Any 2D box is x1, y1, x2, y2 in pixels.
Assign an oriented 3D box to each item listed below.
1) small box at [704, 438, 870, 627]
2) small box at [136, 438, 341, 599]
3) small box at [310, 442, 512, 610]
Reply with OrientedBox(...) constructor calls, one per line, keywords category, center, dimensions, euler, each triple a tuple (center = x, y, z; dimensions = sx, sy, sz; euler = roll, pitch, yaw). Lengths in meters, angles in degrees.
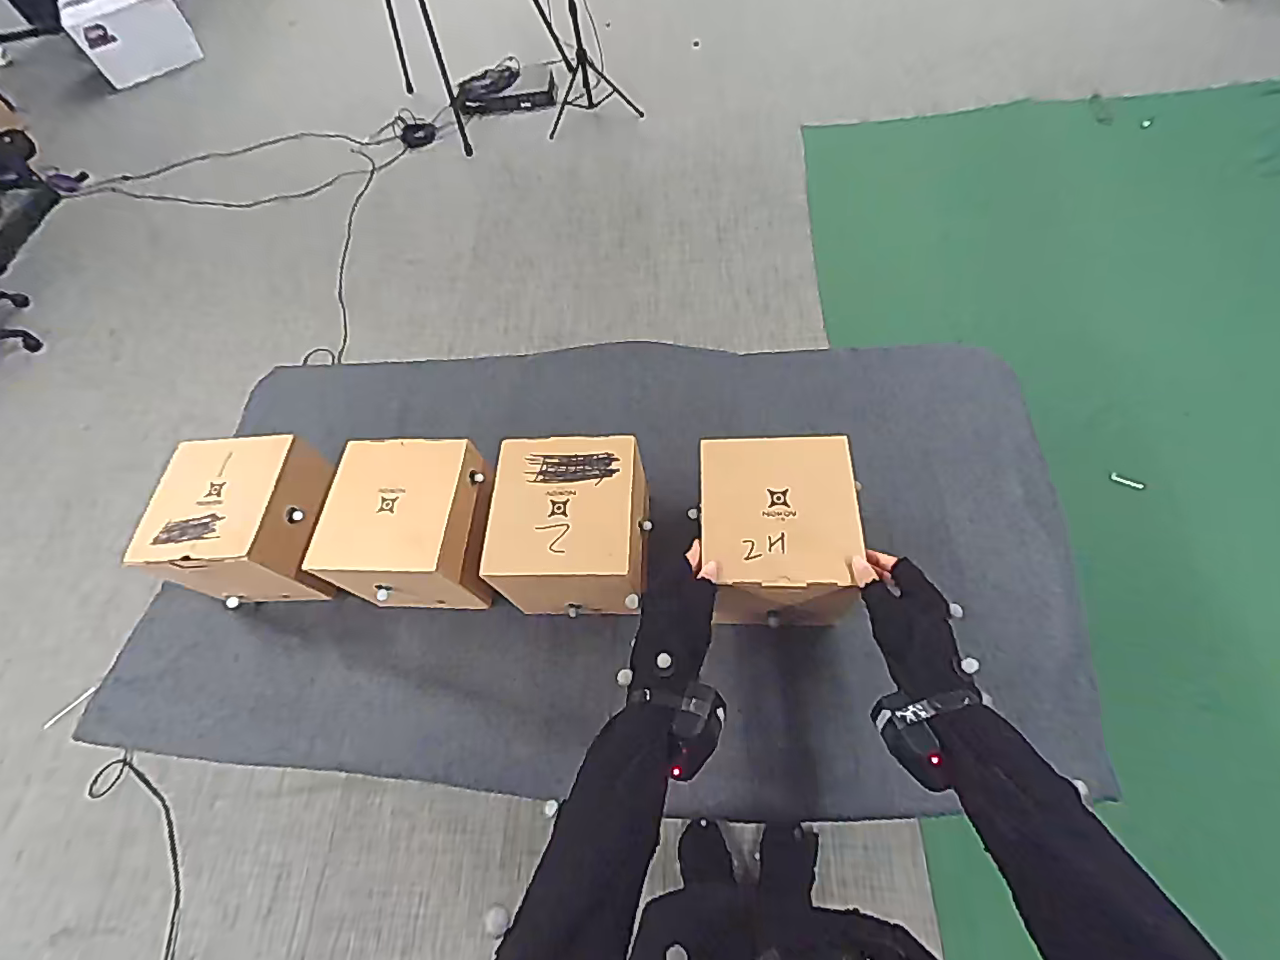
OrientedBox(category="small box", center=(0.161, 0.067, 0.650), dimensions=(0.168, 0.176, 0.179), euler=(-1, 61, 9))
OrientedBox(category="small box", center=(-0.518, 0.062, 0.752), dimensions=(0.168, 0.176, 0.179), euler=(-3, 60, 6))
OrientedBox(category="small box", center=(-0.284, 0.067, 0.717), dimensions=(0.168, 0.176, 0.179), euler=(0, 61, 8))
